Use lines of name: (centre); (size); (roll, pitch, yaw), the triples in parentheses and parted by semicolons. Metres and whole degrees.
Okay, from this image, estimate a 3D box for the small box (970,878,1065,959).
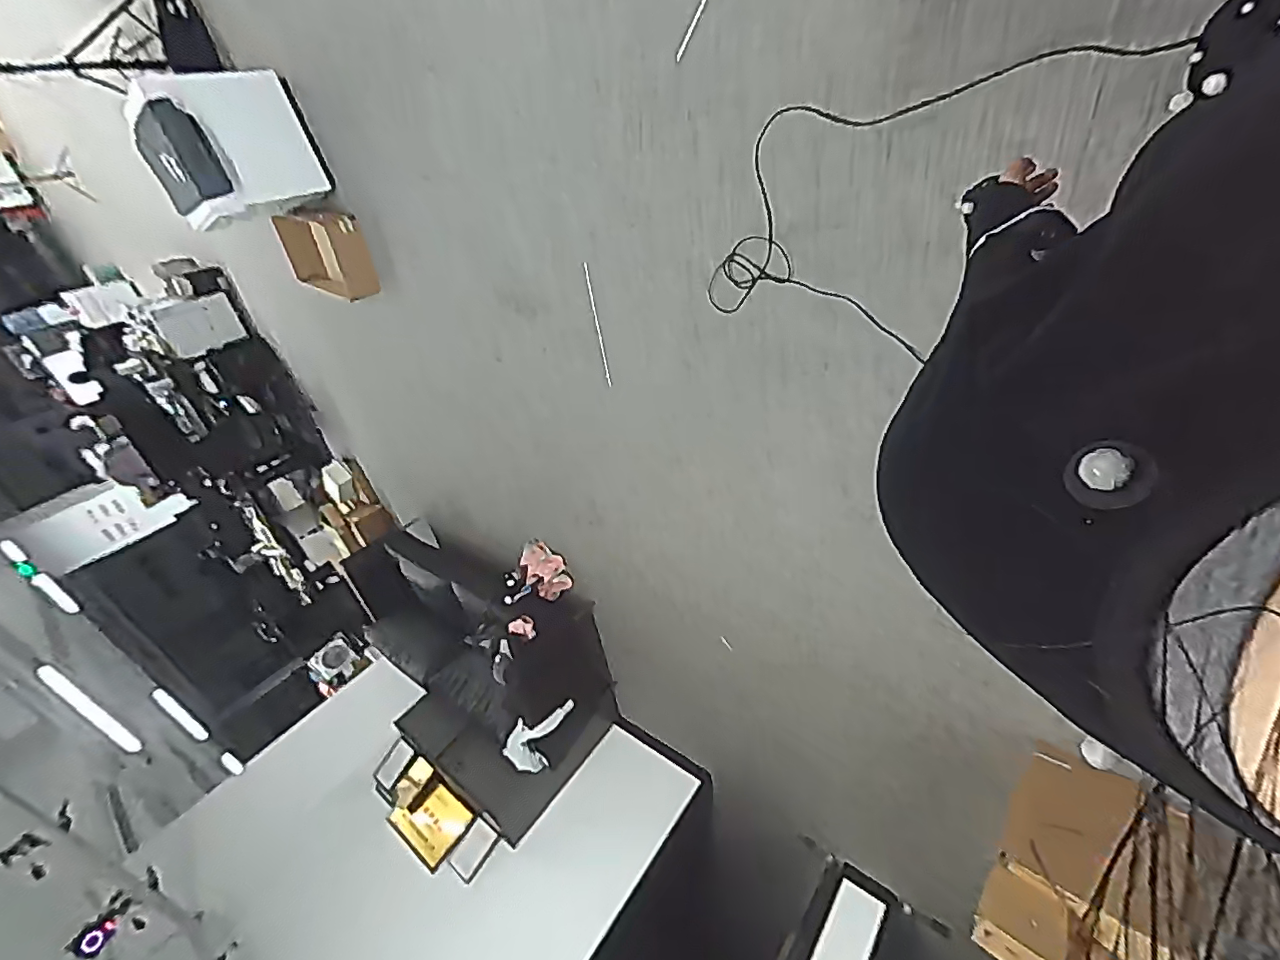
small box: (1.072, 1.290, 1.533); (0.179, 0.176, 0.168); (21, 130, 33)
